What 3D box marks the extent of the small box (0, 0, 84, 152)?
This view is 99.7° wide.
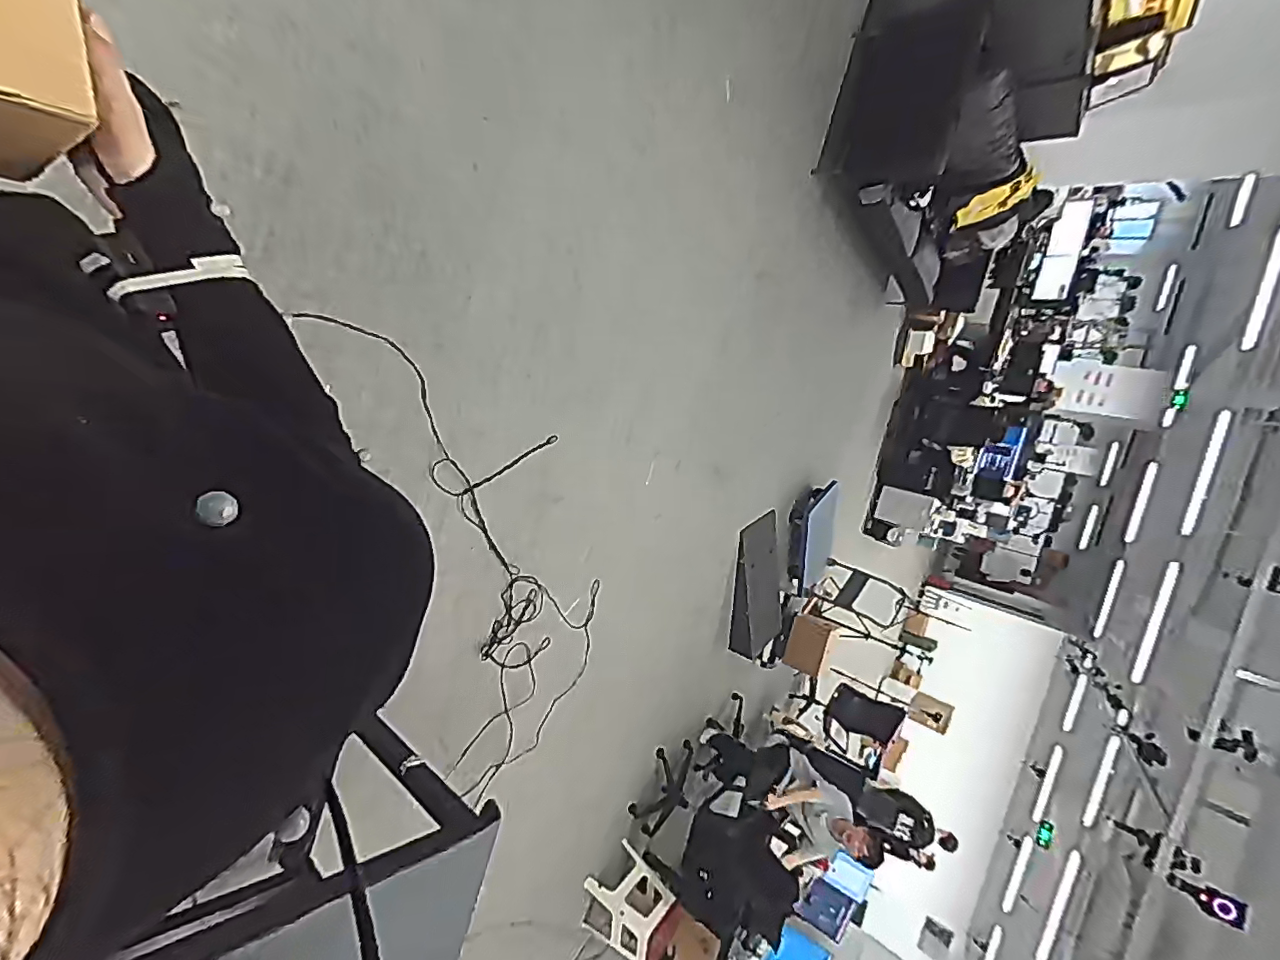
[{"bbox_3d":[-0.411,-0.286,0.251,0.168,0.176,0.179,-16,111,-56],"label":"small box"}]
